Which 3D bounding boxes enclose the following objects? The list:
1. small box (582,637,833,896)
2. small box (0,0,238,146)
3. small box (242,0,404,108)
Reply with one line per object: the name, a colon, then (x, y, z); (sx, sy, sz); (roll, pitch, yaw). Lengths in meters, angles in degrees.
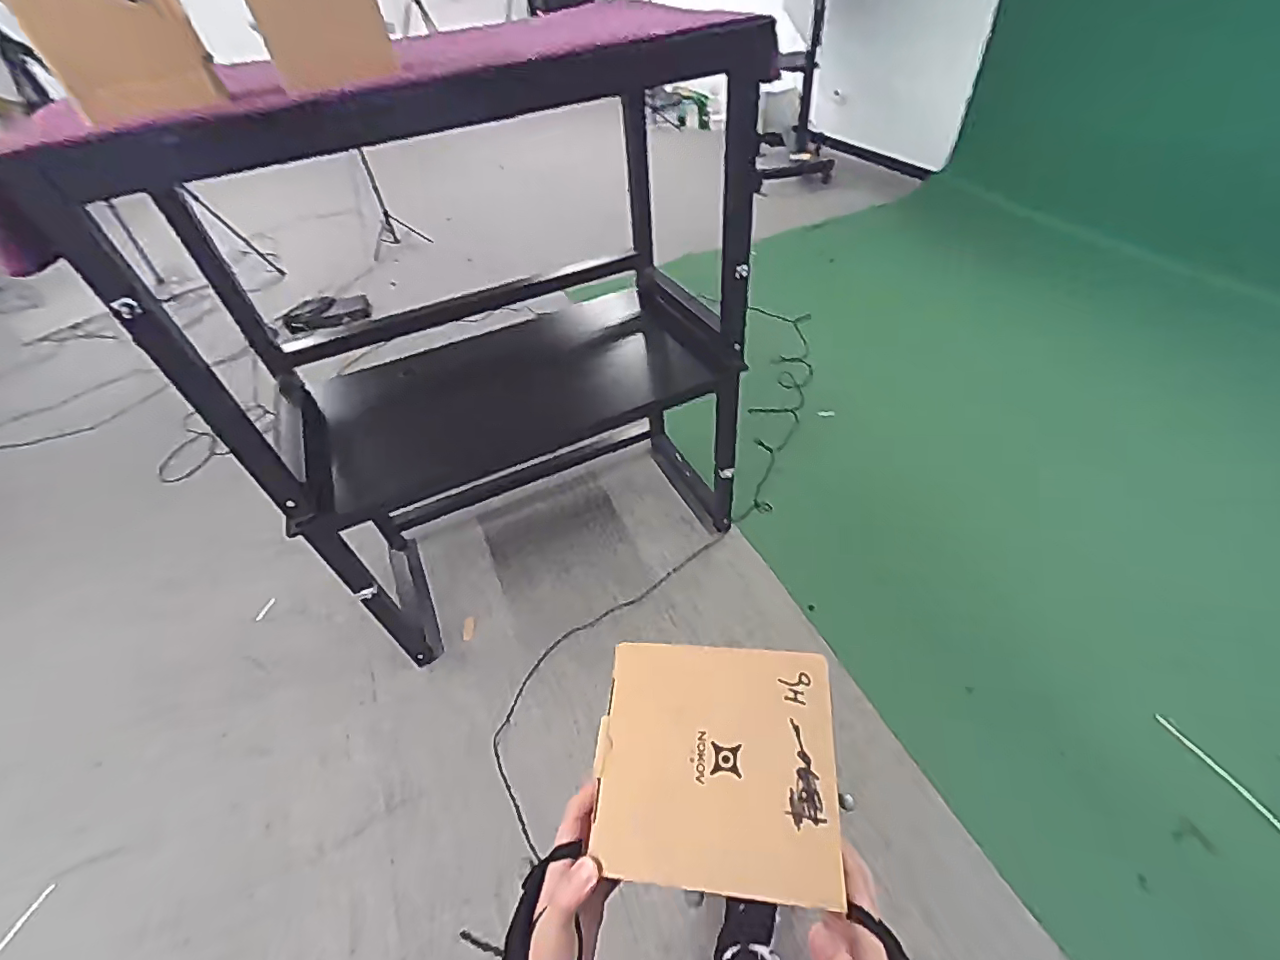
small box: (0.068, 0.249, 0.476); (0.179, 0.176, 0.168); (-1, 56, 13)
small box: (-0.728, -0.603, 0.781); (0.179, 0.176, 0.168); (-24, 47, -16)
small box: (-0.494, -0.703, 0.844); (0.179, 0.176, 0.168); (-21, 47, -12)
